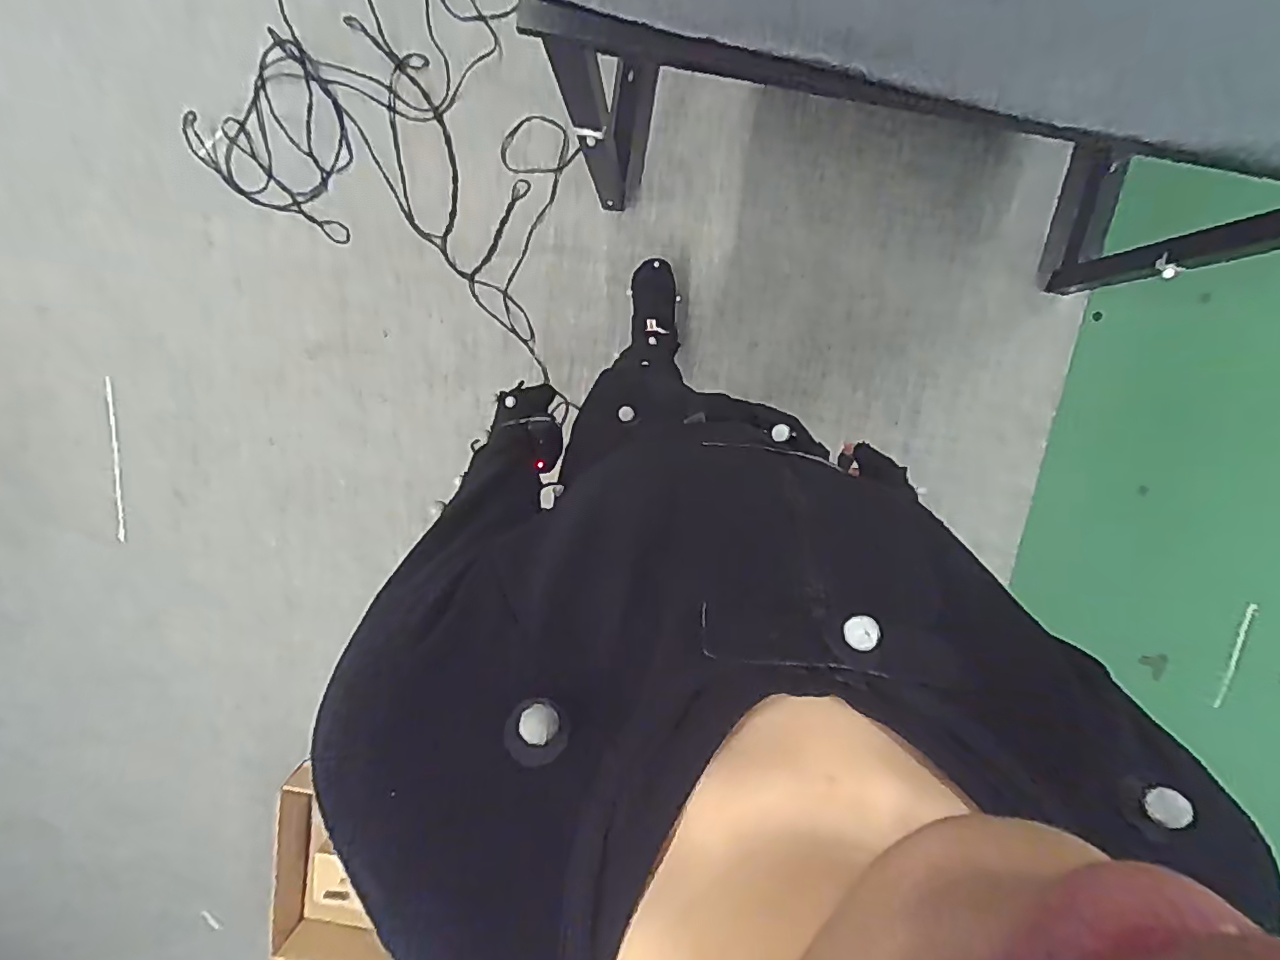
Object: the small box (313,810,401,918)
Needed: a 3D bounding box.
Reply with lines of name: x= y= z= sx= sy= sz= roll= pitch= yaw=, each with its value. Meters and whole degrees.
small box: x=-0.814 y=1.108 z=1.567 sx=0.168 sy=0.176 sz=0.179 roll=9 pitch=101 yaw=1
